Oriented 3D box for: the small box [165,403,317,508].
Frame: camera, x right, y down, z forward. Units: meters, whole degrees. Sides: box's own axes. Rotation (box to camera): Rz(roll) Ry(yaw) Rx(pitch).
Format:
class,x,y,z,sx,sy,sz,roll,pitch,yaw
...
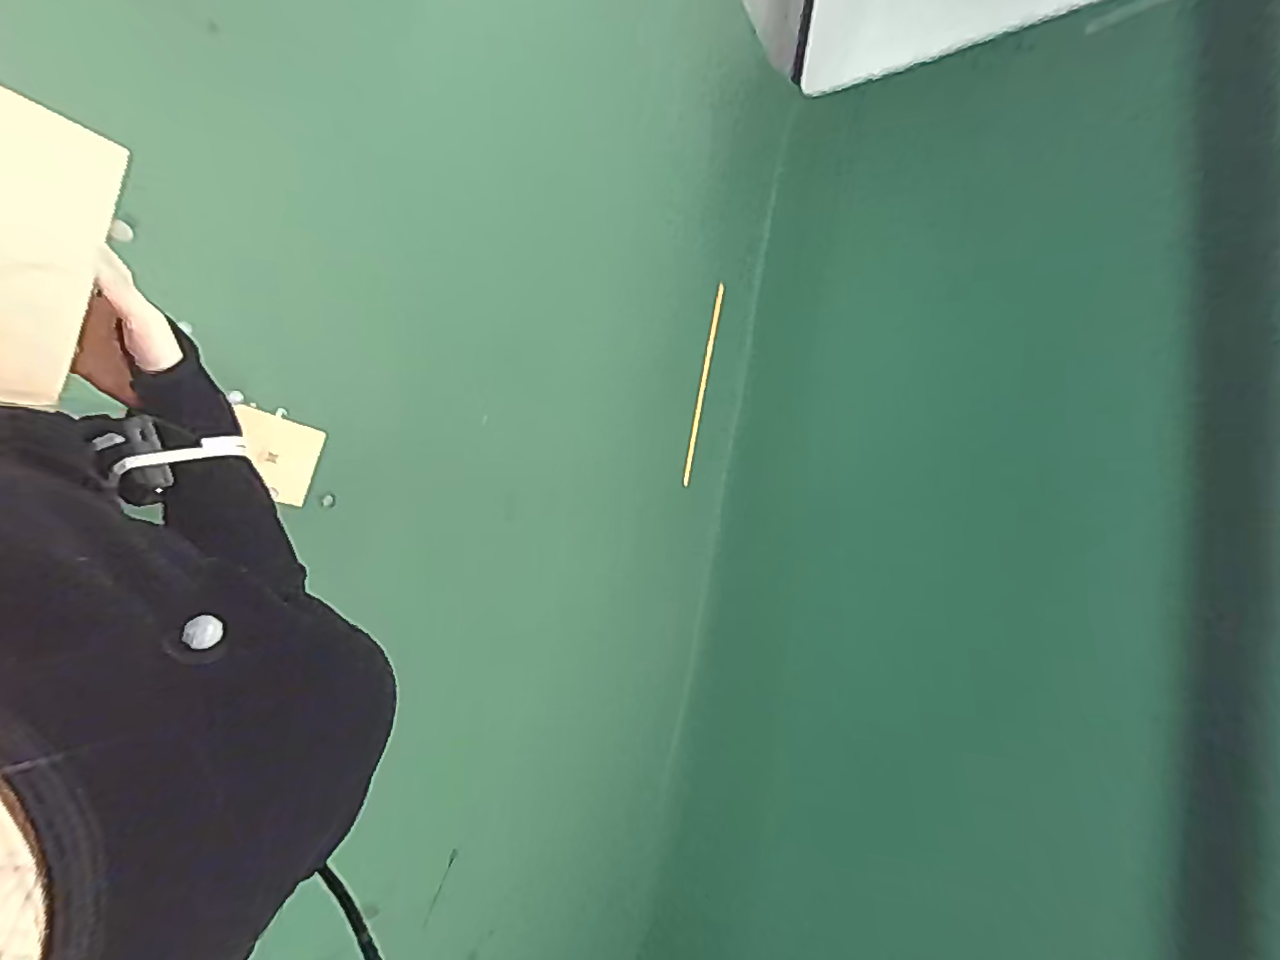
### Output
class,x,y,z,sx,sy,sz,roll,pitch,yaw
small box,-0.809,-0.050,1.100,0.179,0.176,0.168,28,71,-53
